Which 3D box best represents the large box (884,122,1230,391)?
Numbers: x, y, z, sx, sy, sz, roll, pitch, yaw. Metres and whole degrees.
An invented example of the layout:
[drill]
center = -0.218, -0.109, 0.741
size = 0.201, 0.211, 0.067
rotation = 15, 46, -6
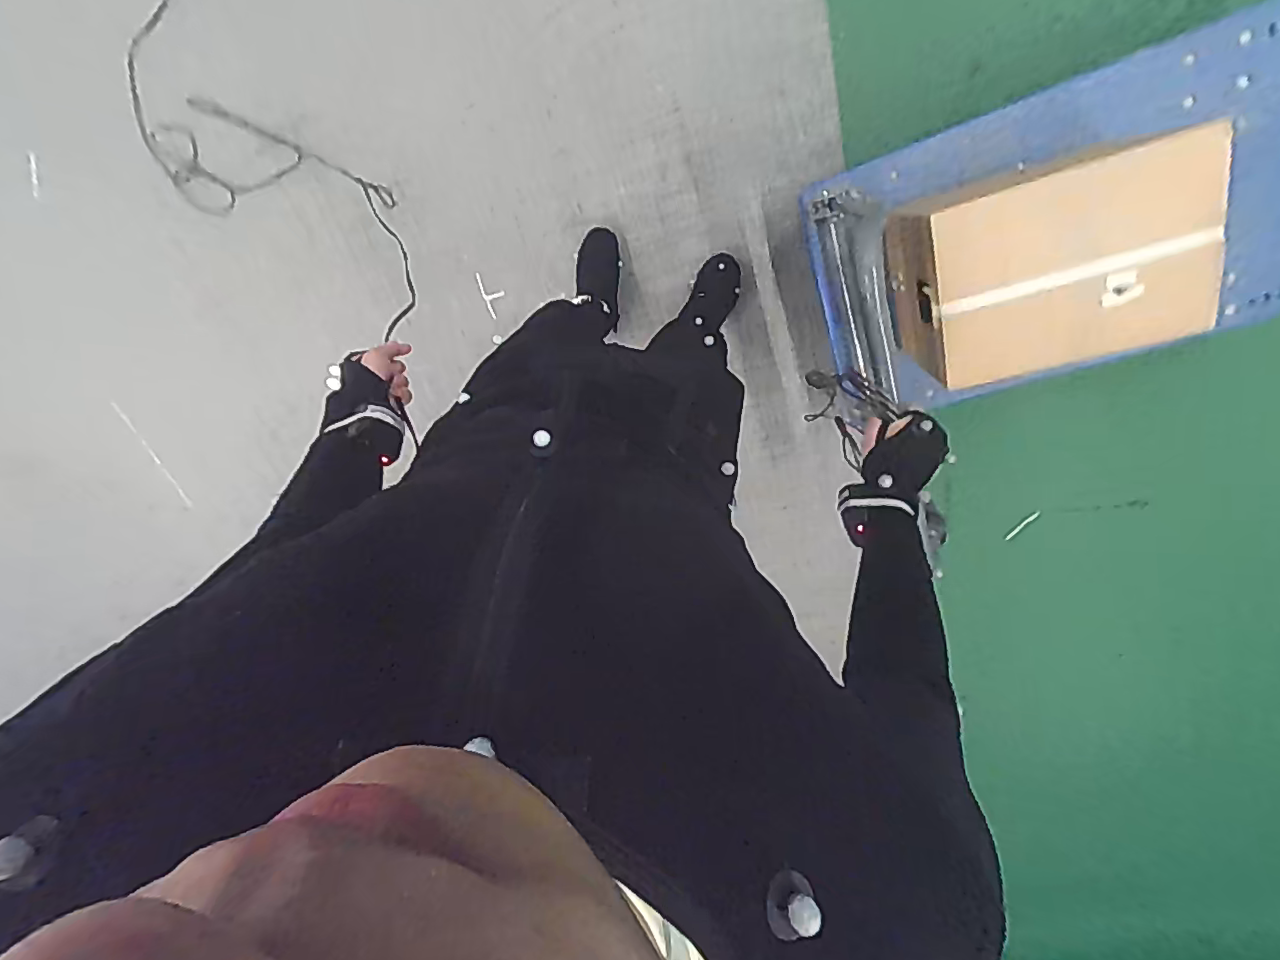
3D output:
[large box]
center = 0.723, -0.401, 1.011
size = 0.408, 0.320, 0.320
rotation = -13, 115, 15
